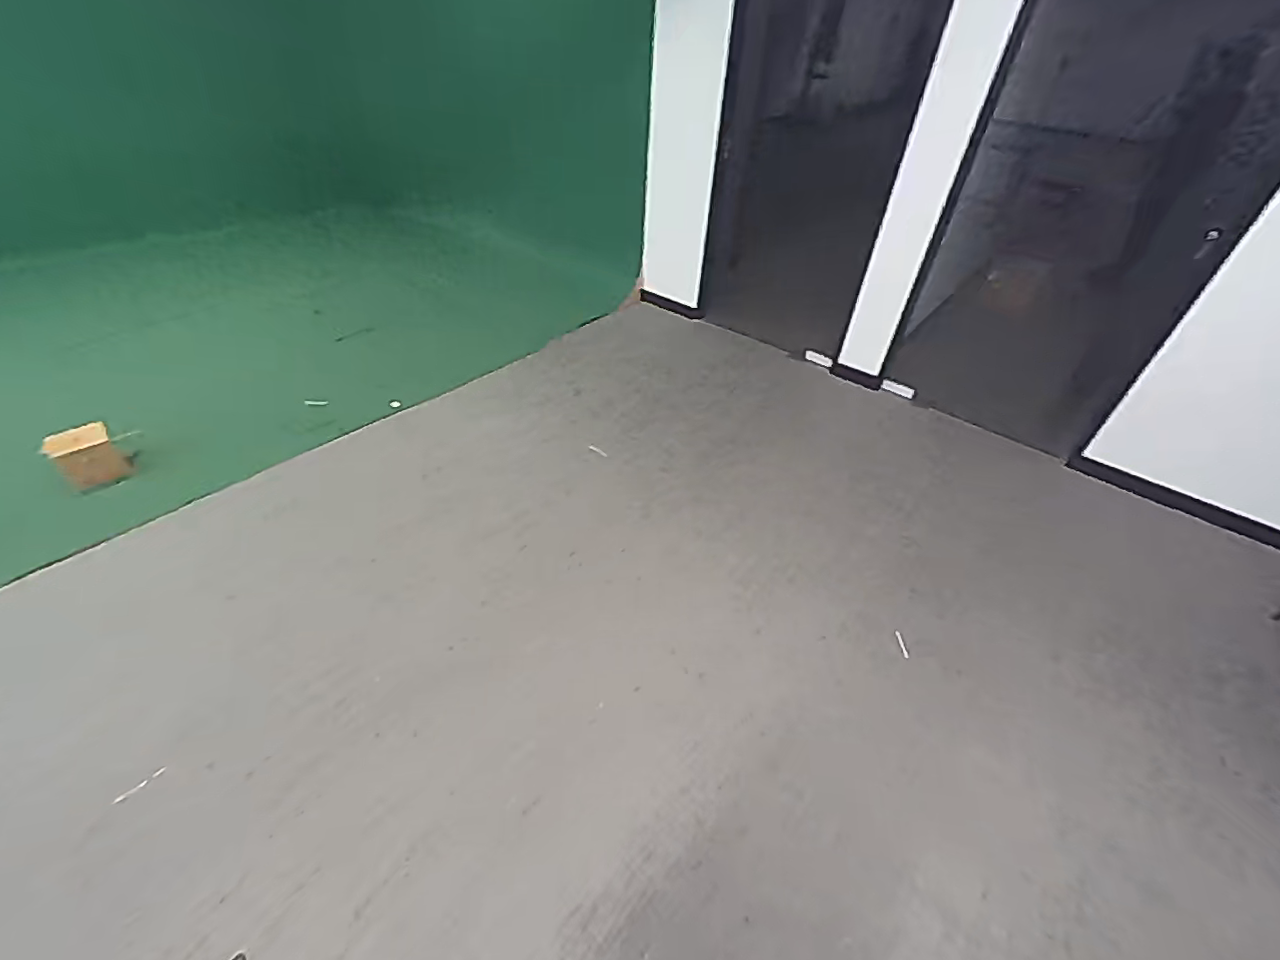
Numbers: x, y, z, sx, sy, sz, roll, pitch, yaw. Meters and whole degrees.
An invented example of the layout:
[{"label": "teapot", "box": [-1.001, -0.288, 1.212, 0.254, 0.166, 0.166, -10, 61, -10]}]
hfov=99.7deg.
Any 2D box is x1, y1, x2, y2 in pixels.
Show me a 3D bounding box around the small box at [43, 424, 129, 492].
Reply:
[{"label": "small box", "box": [-2.143, -0.086, 2.101, 0.168, 0.176, 0.179, 35, 50, 30]}]
